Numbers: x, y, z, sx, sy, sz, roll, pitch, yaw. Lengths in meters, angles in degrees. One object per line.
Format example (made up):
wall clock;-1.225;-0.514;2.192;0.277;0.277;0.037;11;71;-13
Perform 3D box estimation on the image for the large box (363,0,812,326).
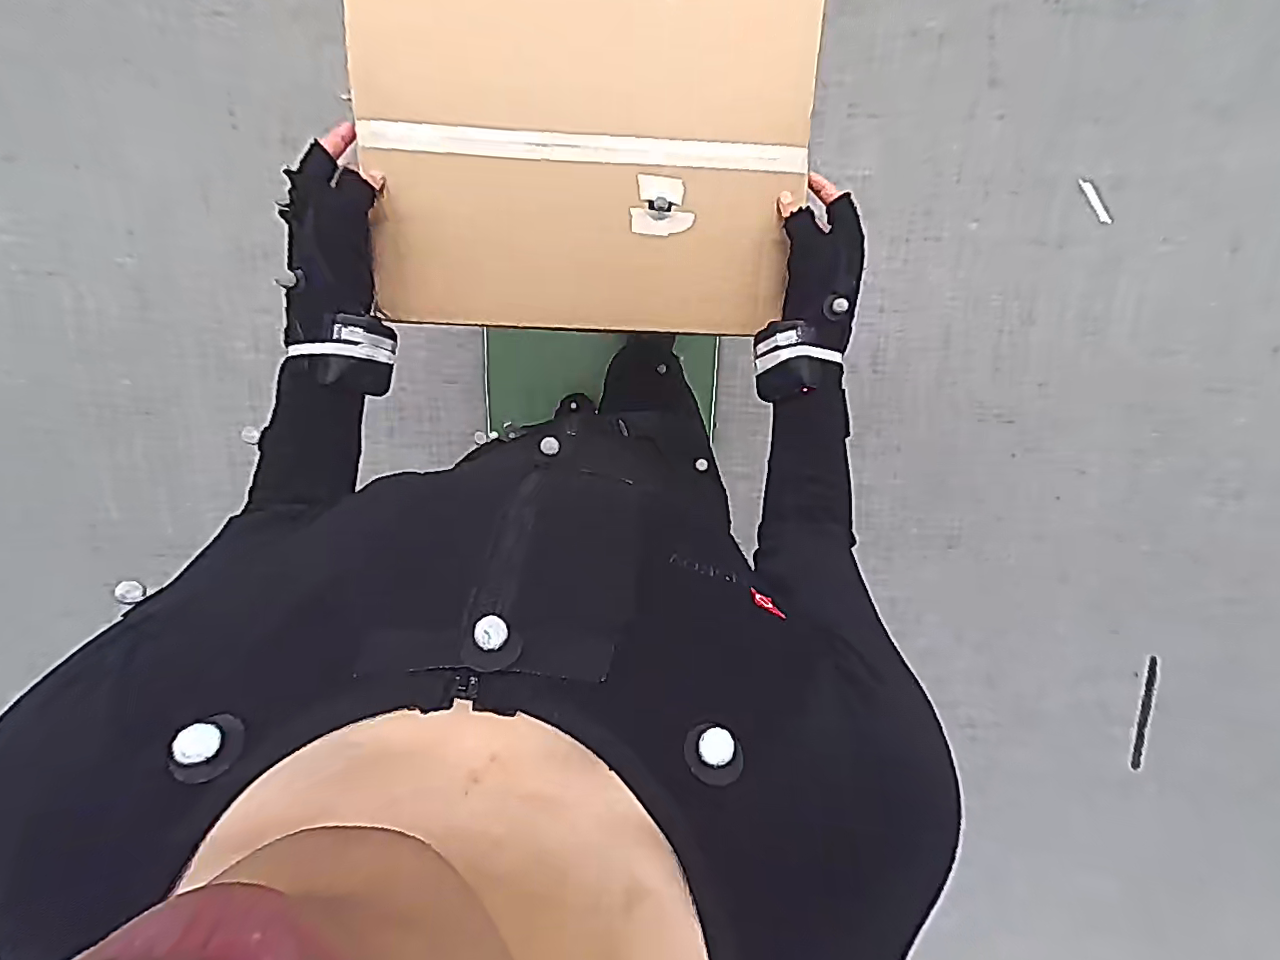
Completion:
large box;-0.057;-0.352;0.649;0.408;0.320;0.320;0;105;-5
